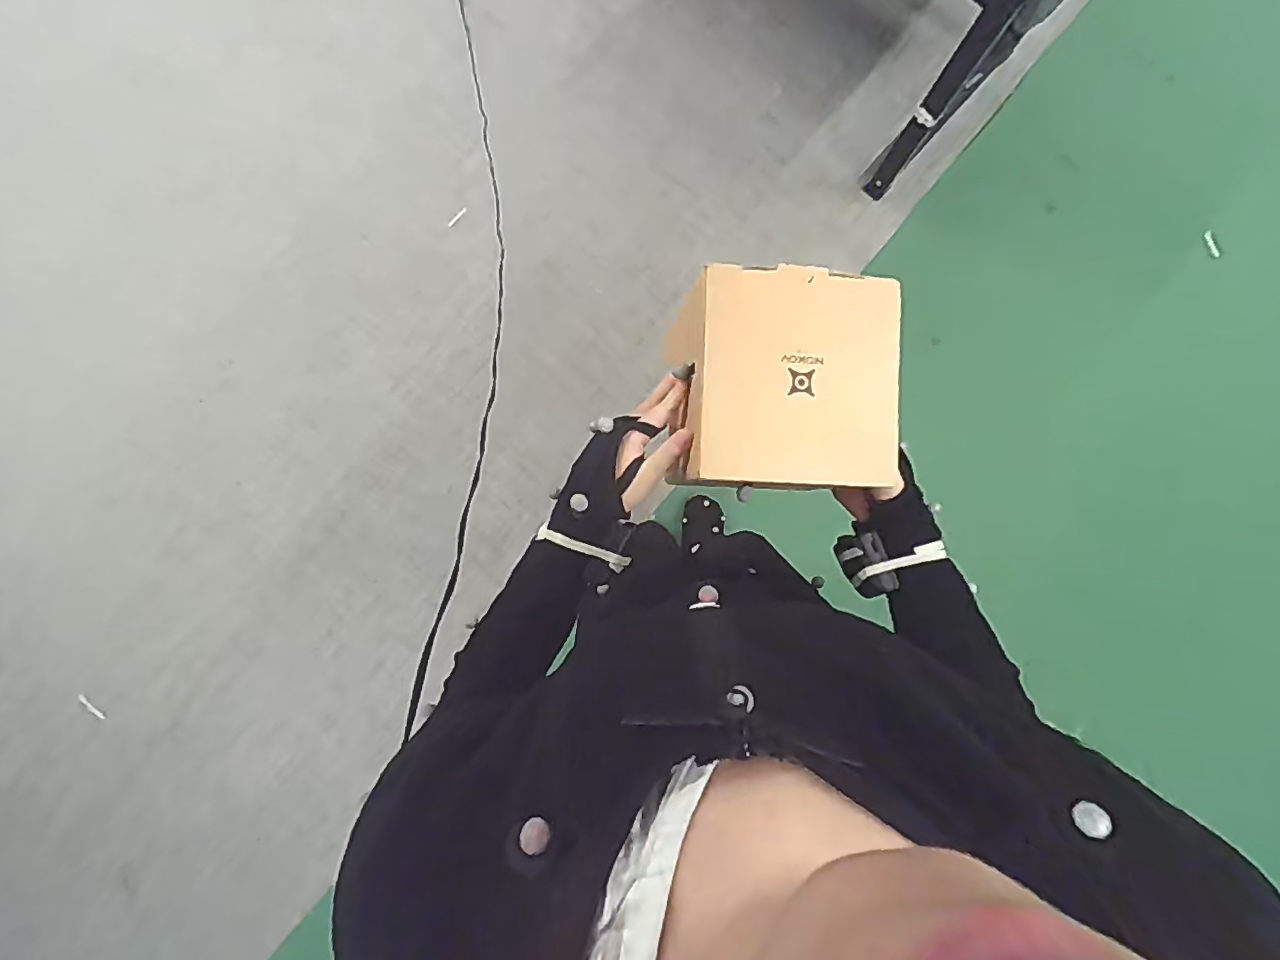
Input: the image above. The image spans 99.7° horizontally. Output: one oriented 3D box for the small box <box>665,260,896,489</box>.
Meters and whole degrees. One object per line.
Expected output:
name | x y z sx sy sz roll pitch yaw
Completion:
small box | 0.118 -0.083 0.516 0.168 0.176 0.179 3 87 -6
